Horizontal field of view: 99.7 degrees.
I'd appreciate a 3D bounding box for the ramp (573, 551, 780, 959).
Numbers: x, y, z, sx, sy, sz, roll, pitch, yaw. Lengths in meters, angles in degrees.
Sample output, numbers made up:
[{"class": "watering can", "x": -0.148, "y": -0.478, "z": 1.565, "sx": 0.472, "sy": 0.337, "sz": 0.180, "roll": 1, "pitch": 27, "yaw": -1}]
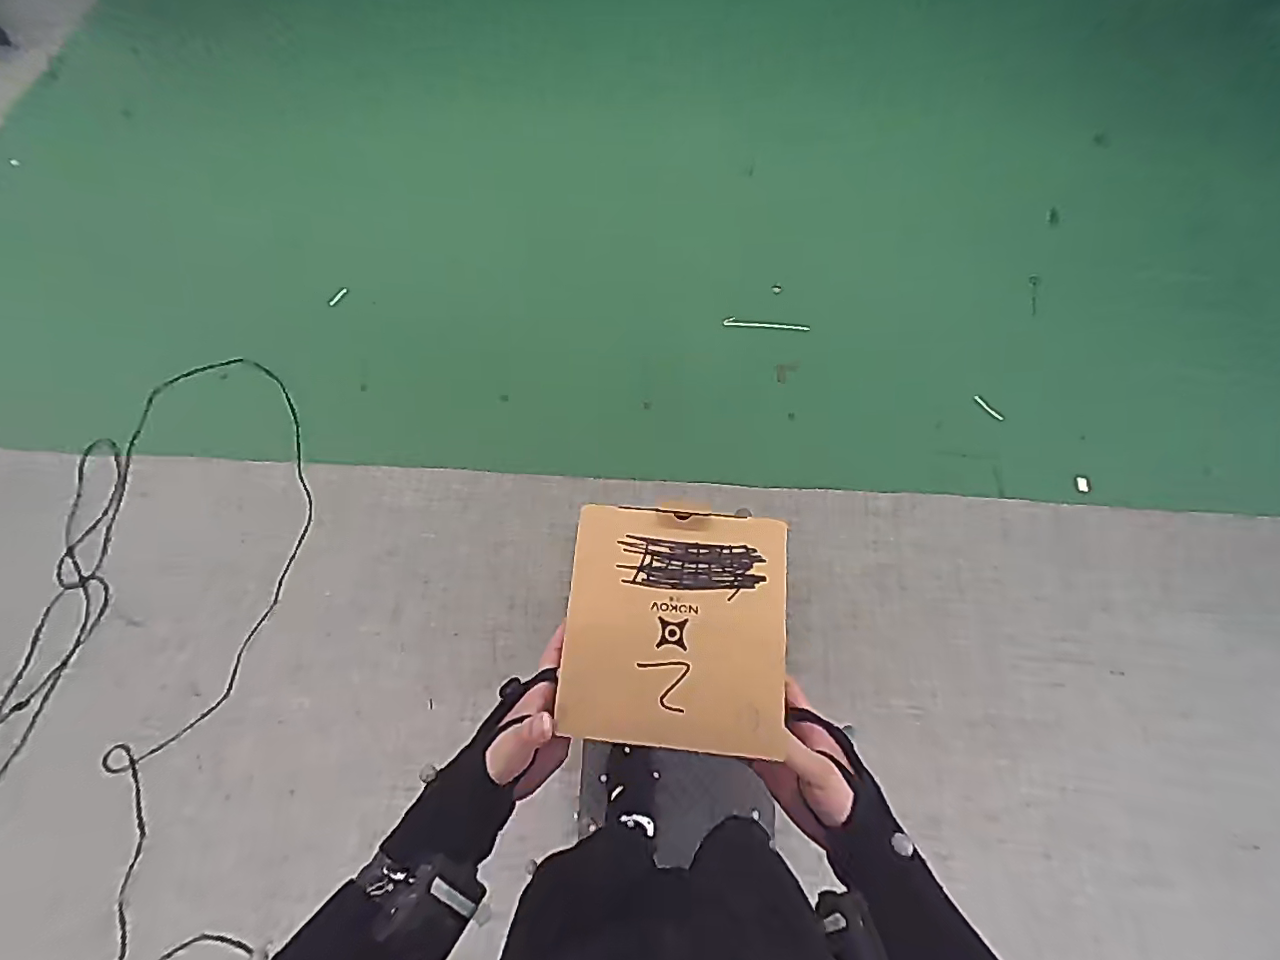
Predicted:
[{"class": "ramp", "x": 0.101, "y": 0.685, "z": 1.365, "sx": 0.509, "sy": 0.206, "sz": 0.991, "roll": 1, "pitch": 67, "yaw": -1}]
